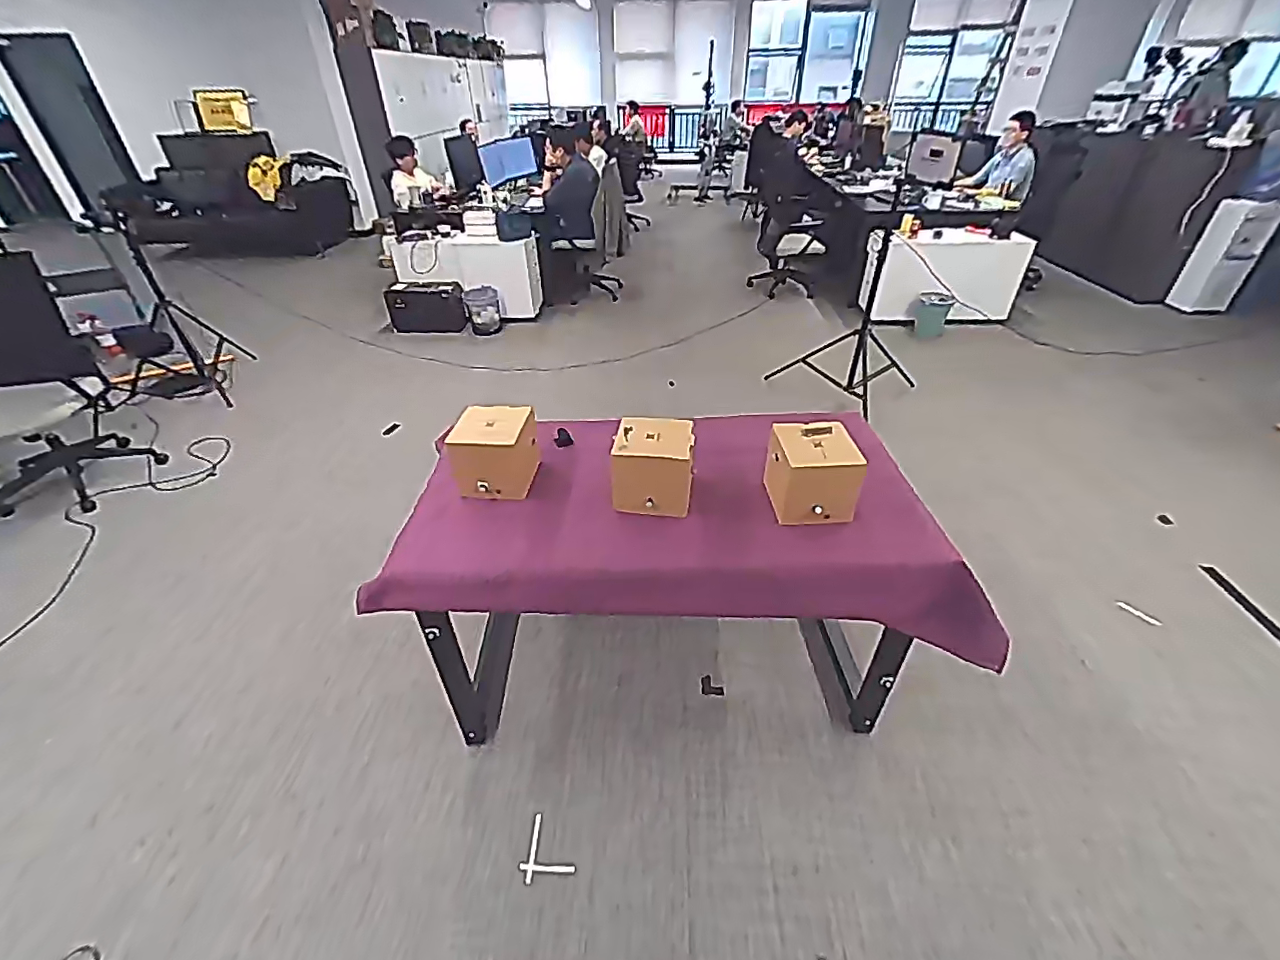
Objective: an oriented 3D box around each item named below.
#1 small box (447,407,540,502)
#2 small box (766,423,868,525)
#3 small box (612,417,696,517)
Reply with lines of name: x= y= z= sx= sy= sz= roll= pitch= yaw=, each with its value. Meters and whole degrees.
small box: x=-0.352 y=-0.066 z=1.338 sx=0.168 sy=0.176 sz=0.179 roll=1 pitch=37 yaw=5
small box: x=0.397 y=-0.015 z=1.250 sx=0.168 sy=0.176 sz=0.179 roll=-3 pitch=37 yaw=-1
small box: x=0.035 y=-0.030 z=1.280 sx=0.179 sy=0.176 sz=0.168 roll=5 pitch=37 yaw=7
